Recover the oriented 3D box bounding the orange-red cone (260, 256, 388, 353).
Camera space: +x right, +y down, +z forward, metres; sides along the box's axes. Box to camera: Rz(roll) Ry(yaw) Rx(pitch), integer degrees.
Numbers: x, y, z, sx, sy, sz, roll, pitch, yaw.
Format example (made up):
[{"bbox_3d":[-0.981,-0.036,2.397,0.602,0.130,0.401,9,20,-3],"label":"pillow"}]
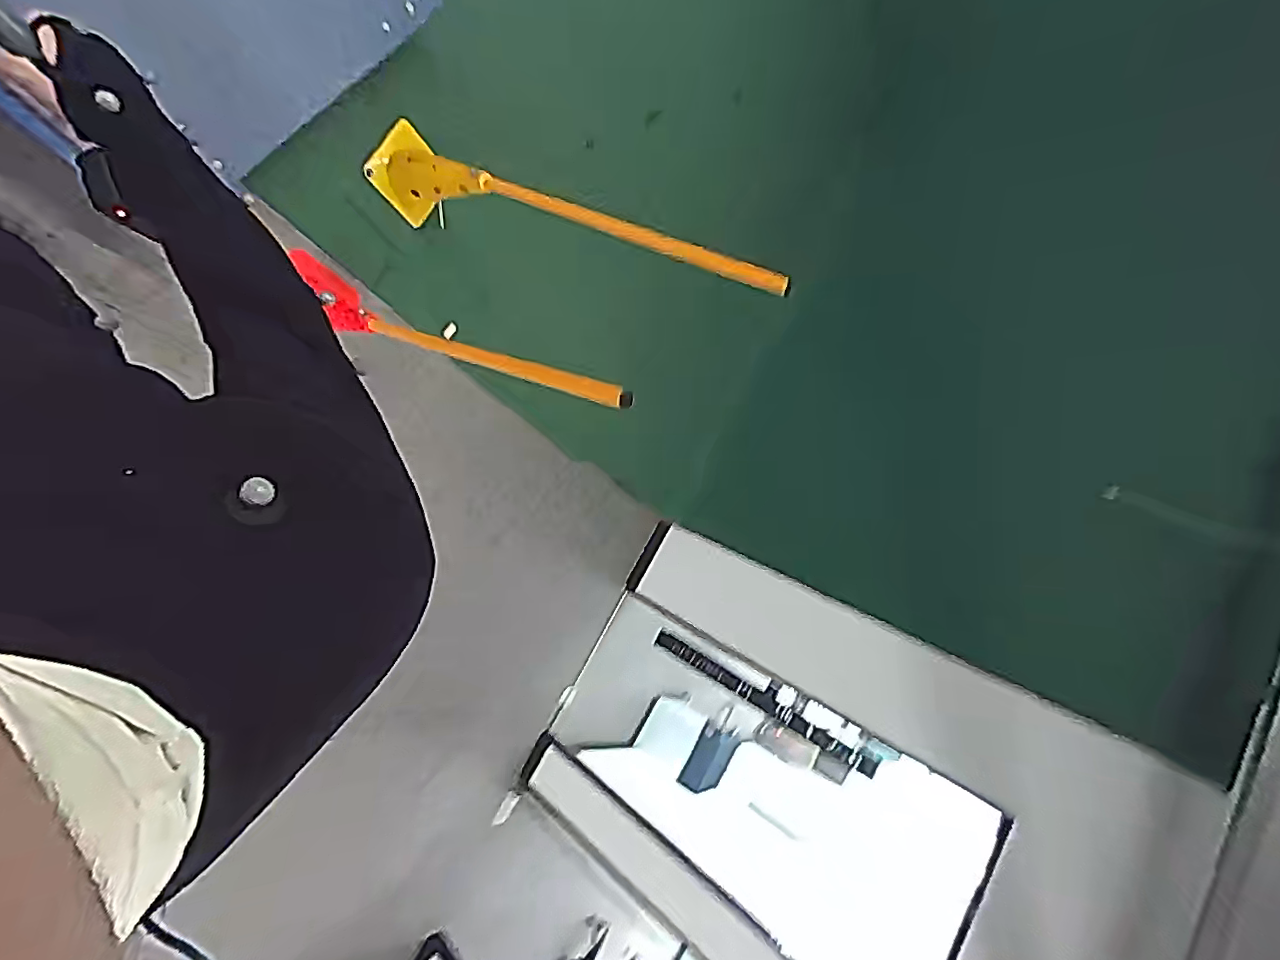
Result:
[{"bbox_3d":[-0.738,-0.407,1.346,0.199,0.360,0.198,-61,147,-10],"label":"orange-red cone"}]
